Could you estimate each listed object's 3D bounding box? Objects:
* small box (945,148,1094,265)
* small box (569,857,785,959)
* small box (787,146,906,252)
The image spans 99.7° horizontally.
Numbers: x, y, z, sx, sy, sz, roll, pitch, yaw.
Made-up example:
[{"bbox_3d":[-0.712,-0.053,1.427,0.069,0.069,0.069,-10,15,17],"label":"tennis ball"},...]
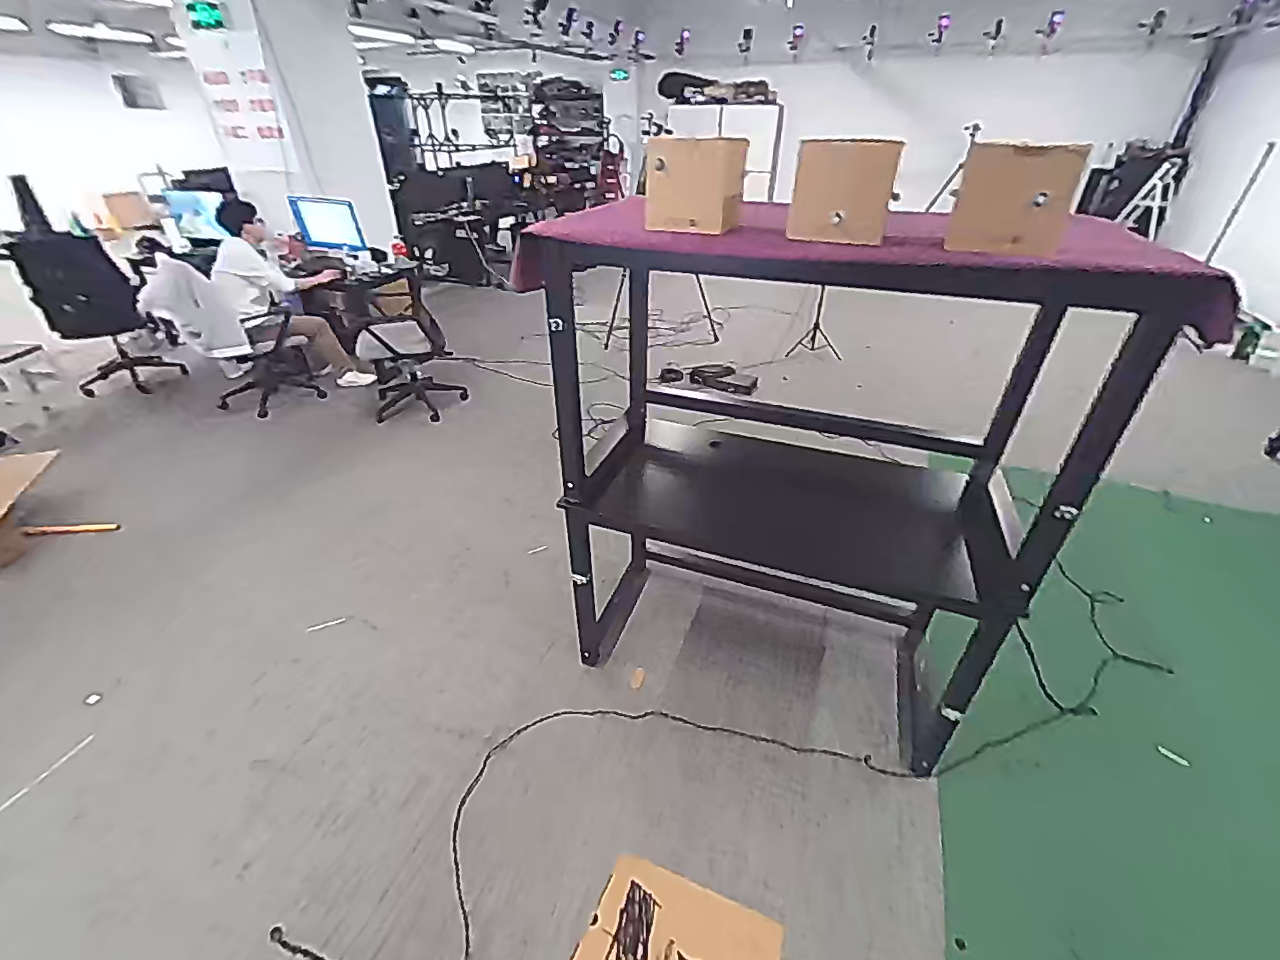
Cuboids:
[{"bbox_3d":[0.656,-0.486,0.957,0.168,0.176,0.179,15,35,21],"label":"small box"},{"bbox_3d":[0.019,0.504,0.487,0.179,0.176,0.168,13,11,18],"label":"small box"},{"bbox_3d":[0.396,-0.542,1.043,0.179,0.176,0.168,12,33,18],"label":"small box"}]
